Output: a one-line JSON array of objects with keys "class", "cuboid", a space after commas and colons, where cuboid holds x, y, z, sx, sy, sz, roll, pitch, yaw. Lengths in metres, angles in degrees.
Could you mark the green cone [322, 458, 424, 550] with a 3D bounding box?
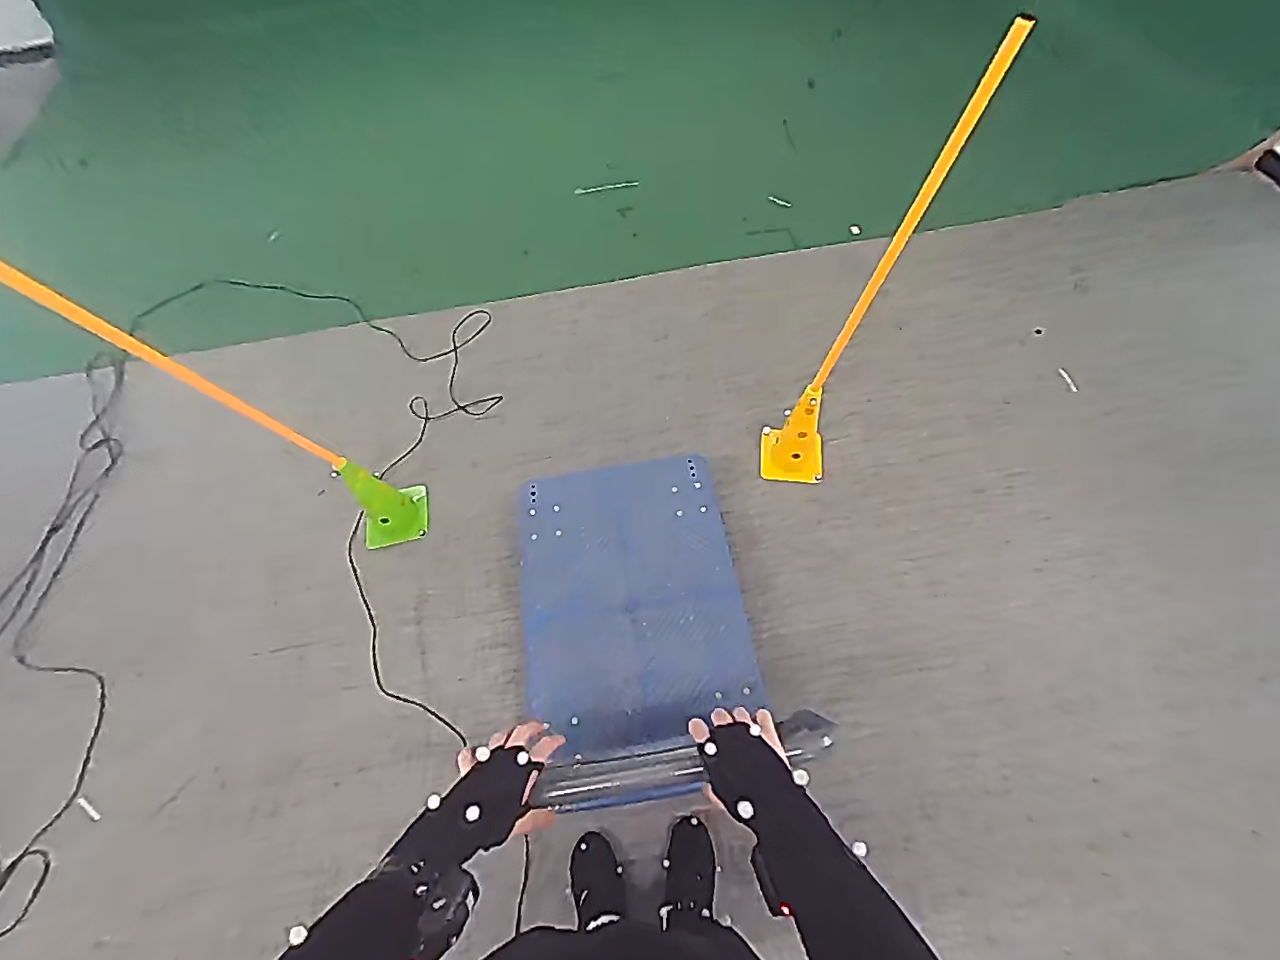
[{"class": "green cone", "cuboid": [-0.829, 0.038, 1.630, 0.202, 0.368, 0.200, -14, 60, -2]}]
